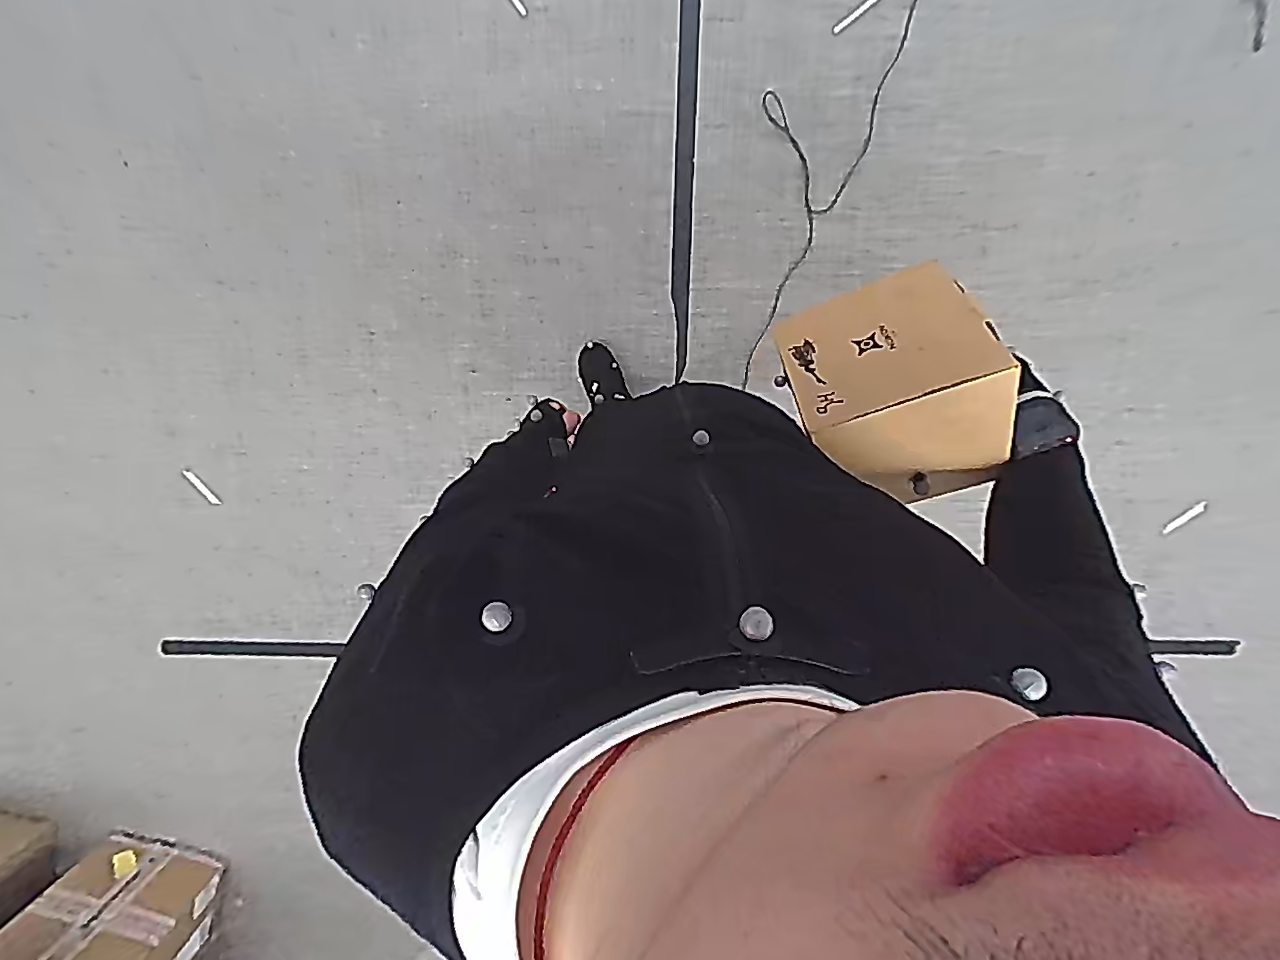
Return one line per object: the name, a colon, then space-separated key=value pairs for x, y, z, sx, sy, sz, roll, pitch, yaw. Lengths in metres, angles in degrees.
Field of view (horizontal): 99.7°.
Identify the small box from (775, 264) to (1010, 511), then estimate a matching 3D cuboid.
small box: x=0.265 y=-0.092 z=0.591 sx=0.179 sy=0.168 sz=0.176 roll=-18 pitch=139 yaw=17
